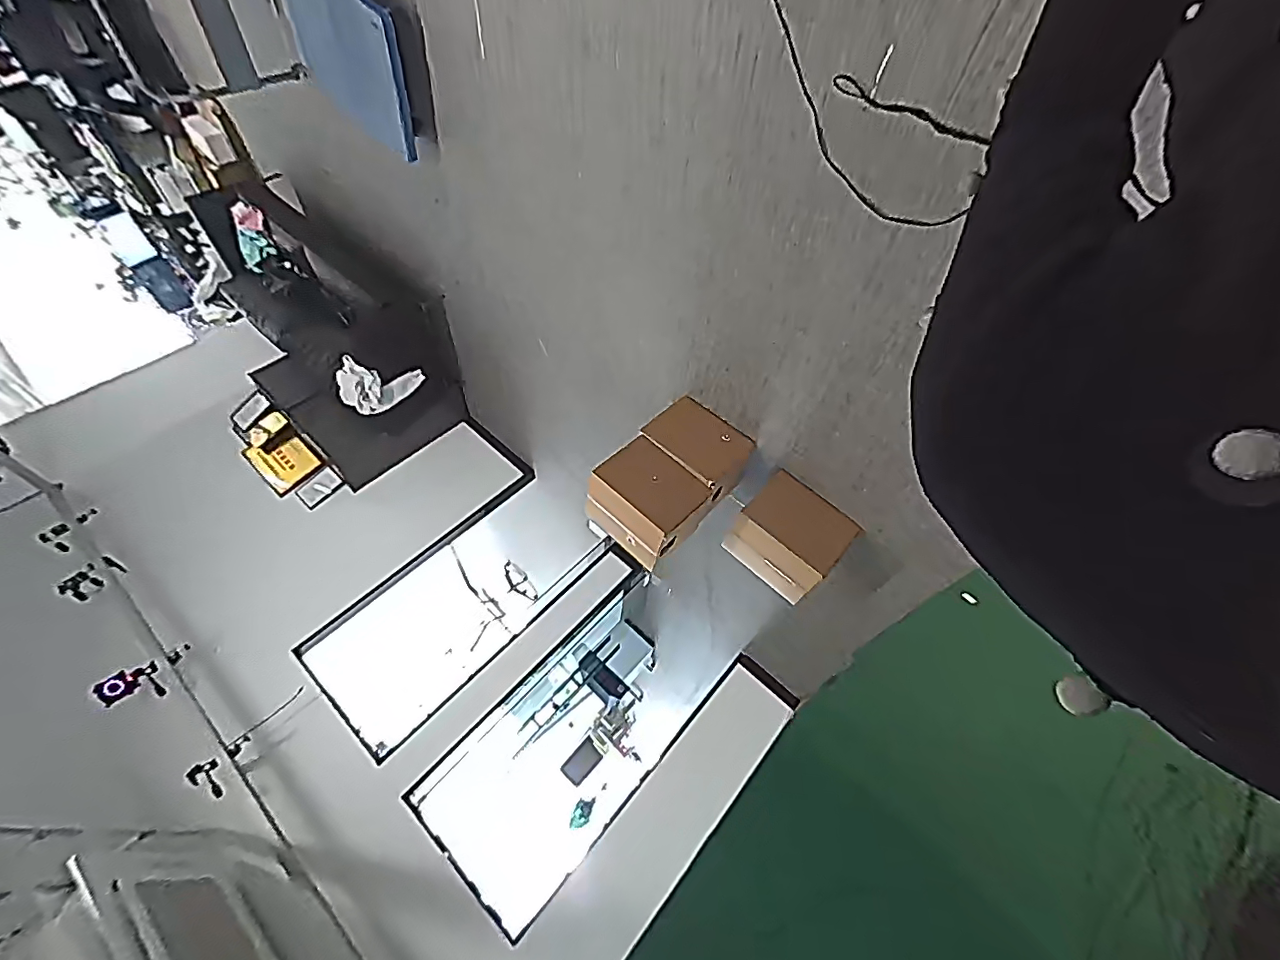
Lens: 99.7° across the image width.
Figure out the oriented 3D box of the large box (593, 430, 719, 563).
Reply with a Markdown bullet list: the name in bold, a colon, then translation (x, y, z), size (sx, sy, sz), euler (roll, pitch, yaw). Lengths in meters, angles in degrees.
- **large box**: translation (0.059, 0.064, 2.282), size (0.408, 0.320, 0.320), euler (39, 147, 18)
